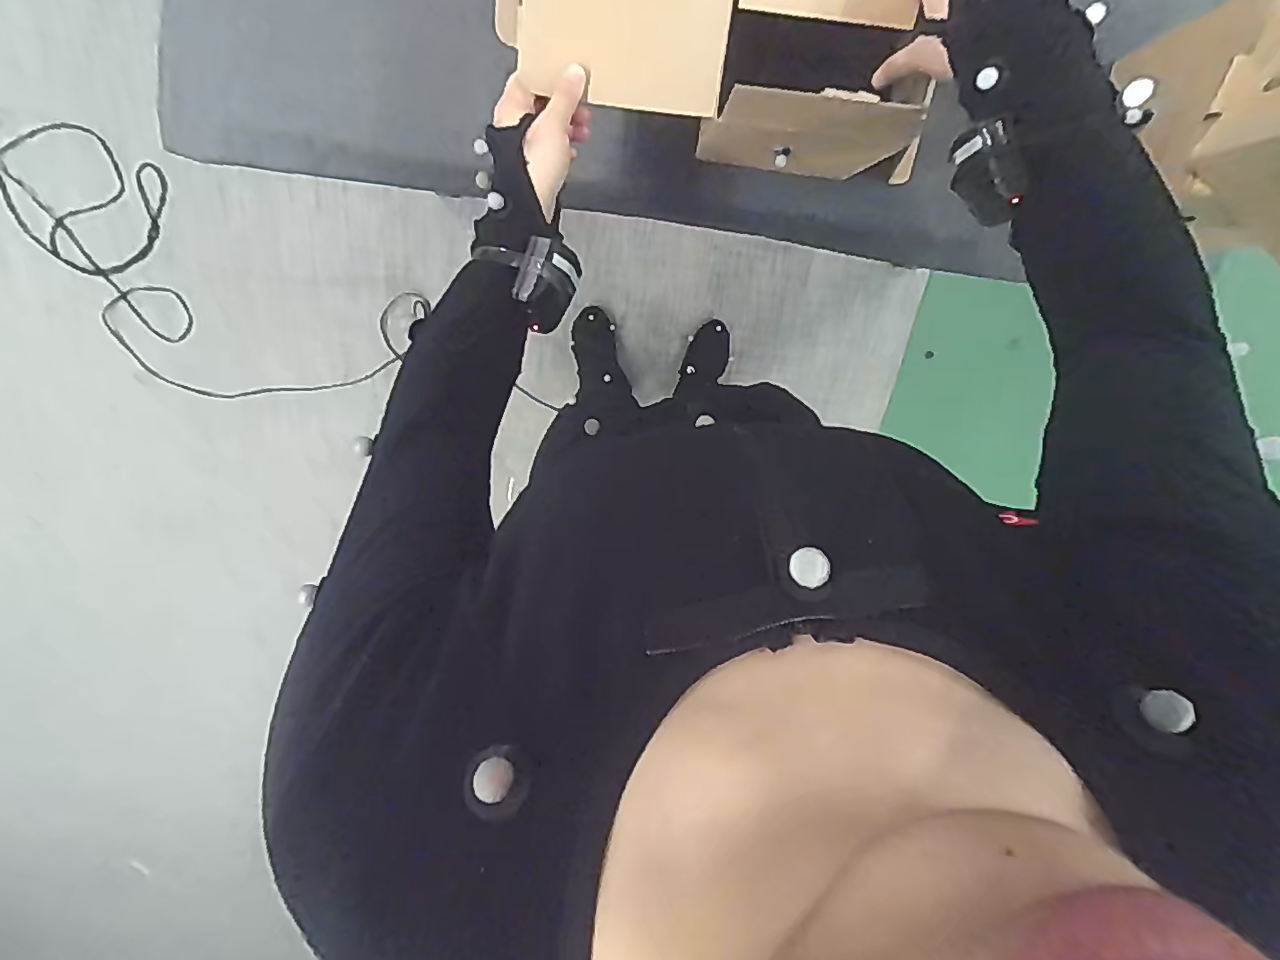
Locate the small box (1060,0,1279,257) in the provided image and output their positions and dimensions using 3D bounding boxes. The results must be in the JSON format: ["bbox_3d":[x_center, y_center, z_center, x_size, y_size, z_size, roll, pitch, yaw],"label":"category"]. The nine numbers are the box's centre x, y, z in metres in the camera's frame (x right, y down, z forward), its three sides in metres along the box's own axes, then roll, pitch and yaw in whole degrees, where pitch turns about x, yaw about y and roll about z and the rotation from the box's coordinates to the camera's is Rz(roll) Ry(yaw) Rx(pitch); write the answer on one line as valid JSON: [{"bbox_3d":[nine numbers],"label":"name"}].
[{"bbox_3d":[0.587,-0.335,0.545,0.179,0.176,0.168,13,107,-5],"label":"small box"}]

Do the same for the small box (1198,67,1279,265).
[{"bbox_3d":[0.593,-0.269,0.394,0.179,0.176,0.168,33,103,-12],"label":"small box"}]

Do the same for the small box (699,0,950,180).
[{"bbox_3d":[0.160,-0.398,0.514,0.179,0.176,0.168,7,109,-1],"label":"small box"}]
